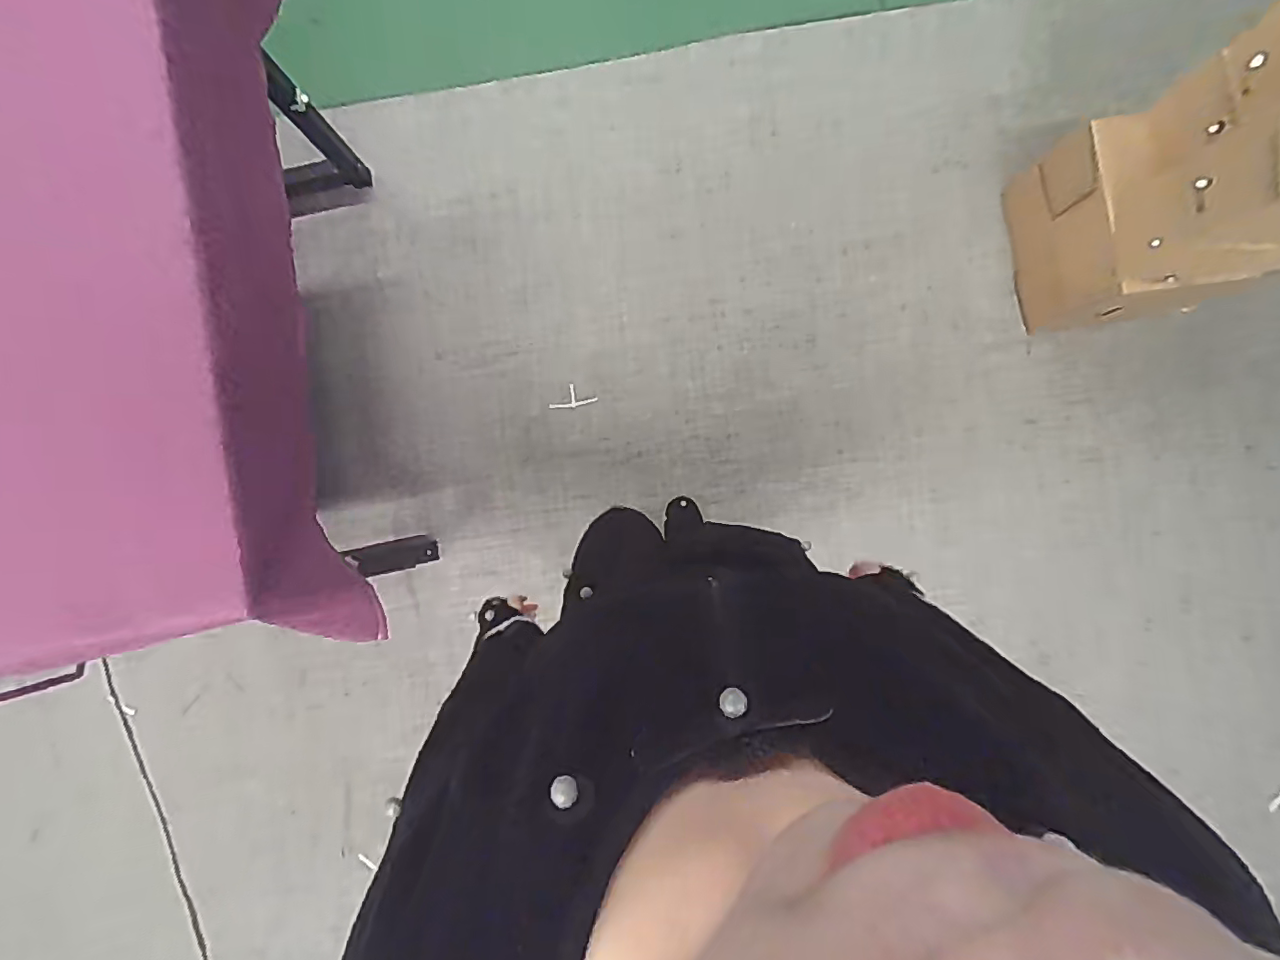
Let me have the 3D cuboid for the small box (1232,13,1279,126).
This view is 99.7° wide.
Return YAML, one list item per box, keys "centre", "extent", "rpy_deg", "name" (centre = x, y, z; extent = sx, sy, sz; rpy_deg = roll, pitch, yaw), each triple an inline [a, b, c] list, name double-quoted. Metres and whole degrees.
- centre: [1.220, -0.761, 0.946]
  extent: [0.179, 0.176, 0.168]
  rpy_deg: [-7, 87, 1]
  name: "small box"

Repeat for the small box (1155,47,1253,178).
- centre: [1.224, -0.749, 1.108]
  extent: [0.168, 0.176, 0.179]
  rpy_deg: [-9, 87, 0]
  name: "small box"
